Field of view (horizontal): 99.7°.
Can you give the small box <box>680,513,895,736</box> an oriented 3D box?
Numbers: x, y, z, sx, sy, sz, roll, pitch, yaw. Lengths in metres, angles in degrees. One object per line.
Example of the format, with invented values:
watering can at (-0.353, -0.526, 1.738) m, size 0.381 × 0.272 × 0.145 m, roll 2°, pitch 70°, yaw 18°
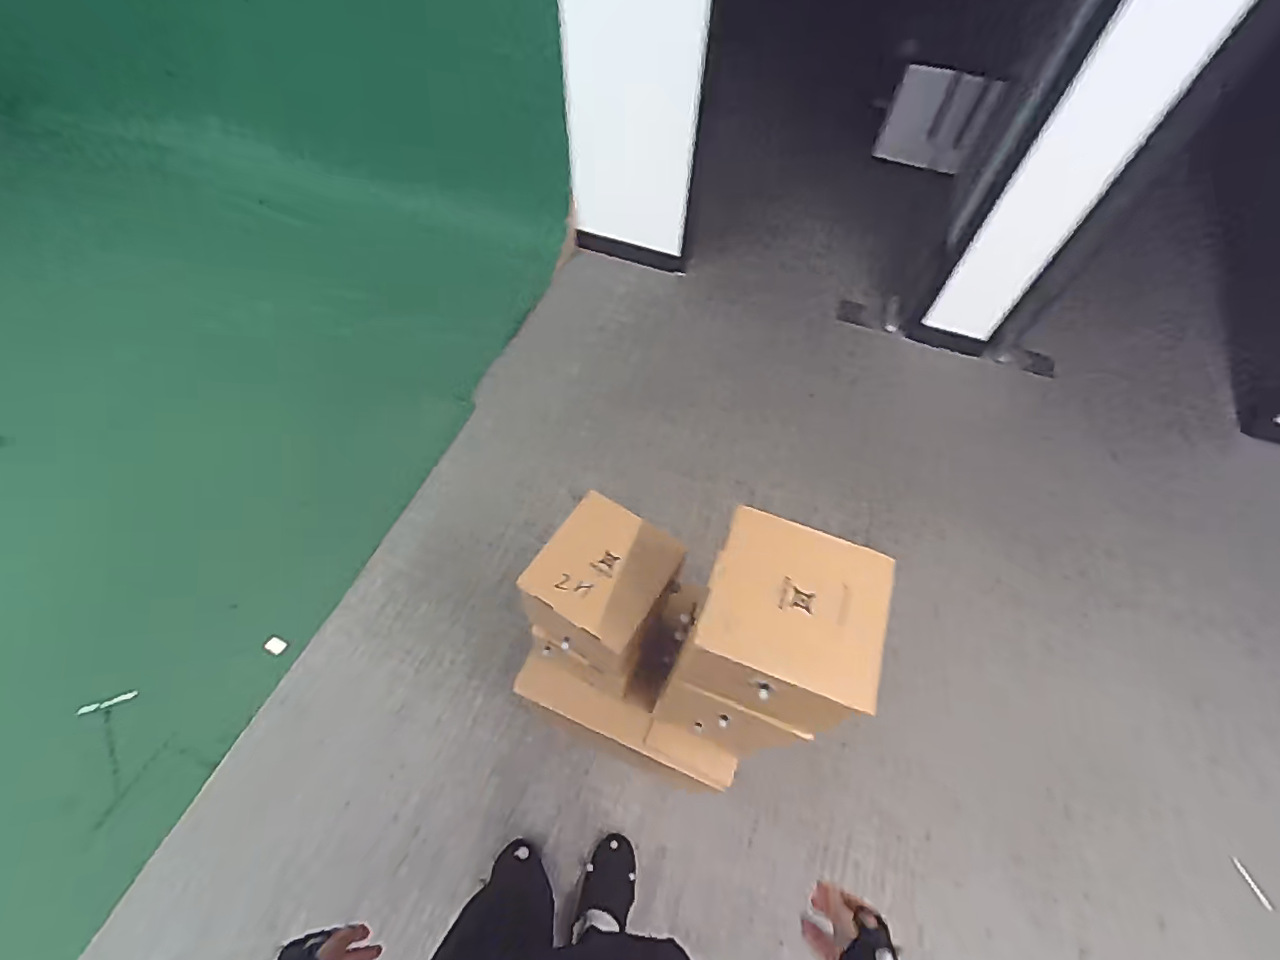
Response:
small box at (0.154, 0.169, 0.607) m, size 0.179 × 0.176 × 0.168 m, roll 20°, pitch 60°, yaw 9°
